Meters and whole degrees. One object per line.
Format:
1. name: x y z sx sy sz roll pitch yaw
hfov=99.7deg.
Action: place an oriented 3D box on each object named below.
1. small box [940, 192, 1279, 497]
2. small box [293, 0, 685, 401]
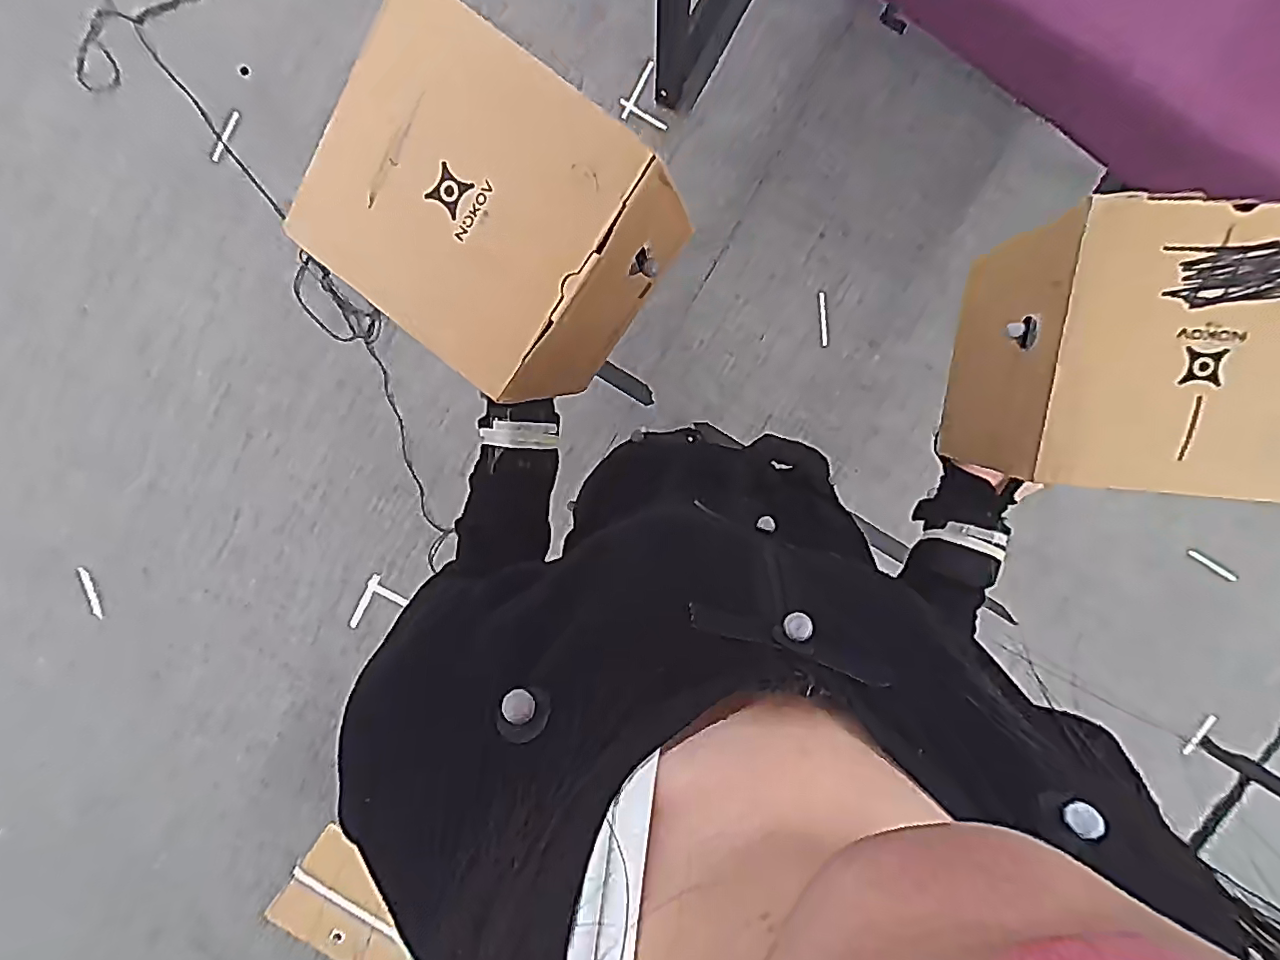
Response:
1. small box: 0.353 -0.094 0.408 0.168 0.176 0.179 5 101 8
2. small box: -0.086 -0.177 0.387 0.179 0.176 0.168 38 105 3
